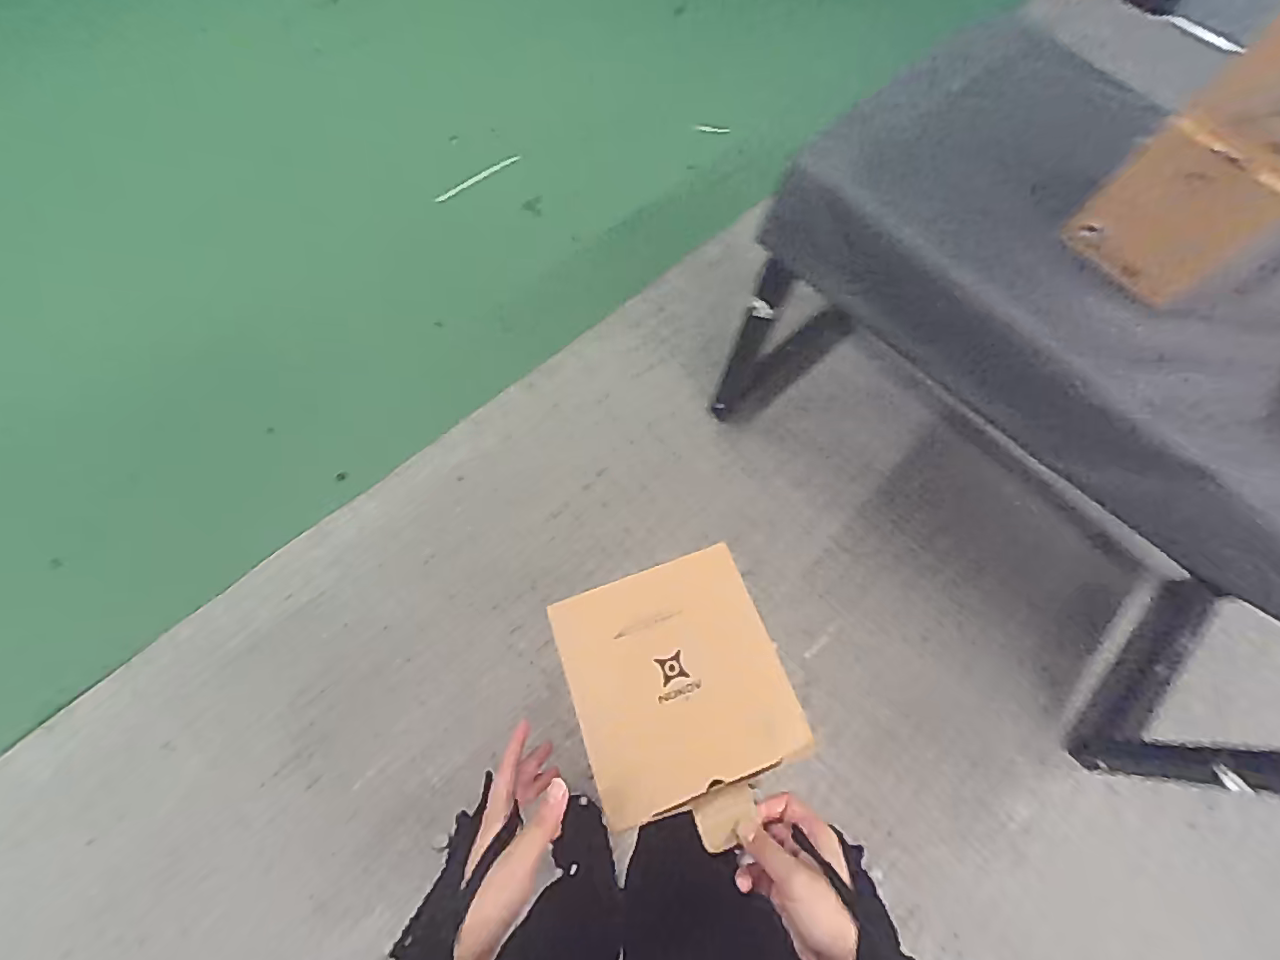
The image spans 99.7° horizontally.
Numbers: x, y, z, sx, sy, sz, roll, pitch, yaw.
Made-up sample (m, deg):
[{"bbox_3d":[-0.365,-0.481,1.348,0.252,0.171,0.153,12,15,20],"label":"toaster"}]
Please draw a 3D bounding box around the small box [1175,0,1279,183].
[{"bbox_3d":[0.717,-0.443,0.547,0.179,0.176,0.168,-40,75,-18],"label":"small box"}]

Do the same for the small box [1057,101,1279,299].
[{"bbox_3d":[0.693,-0.368,0.693,0.179,0.176,0.168,-37,75,-19],"label":"small box"}]

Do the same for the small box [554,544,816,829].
[{"bbox_3d":[0.032,0.186,0.500,0.168,0.176,0.179,-18,64,-8],"label":"small box"}]
